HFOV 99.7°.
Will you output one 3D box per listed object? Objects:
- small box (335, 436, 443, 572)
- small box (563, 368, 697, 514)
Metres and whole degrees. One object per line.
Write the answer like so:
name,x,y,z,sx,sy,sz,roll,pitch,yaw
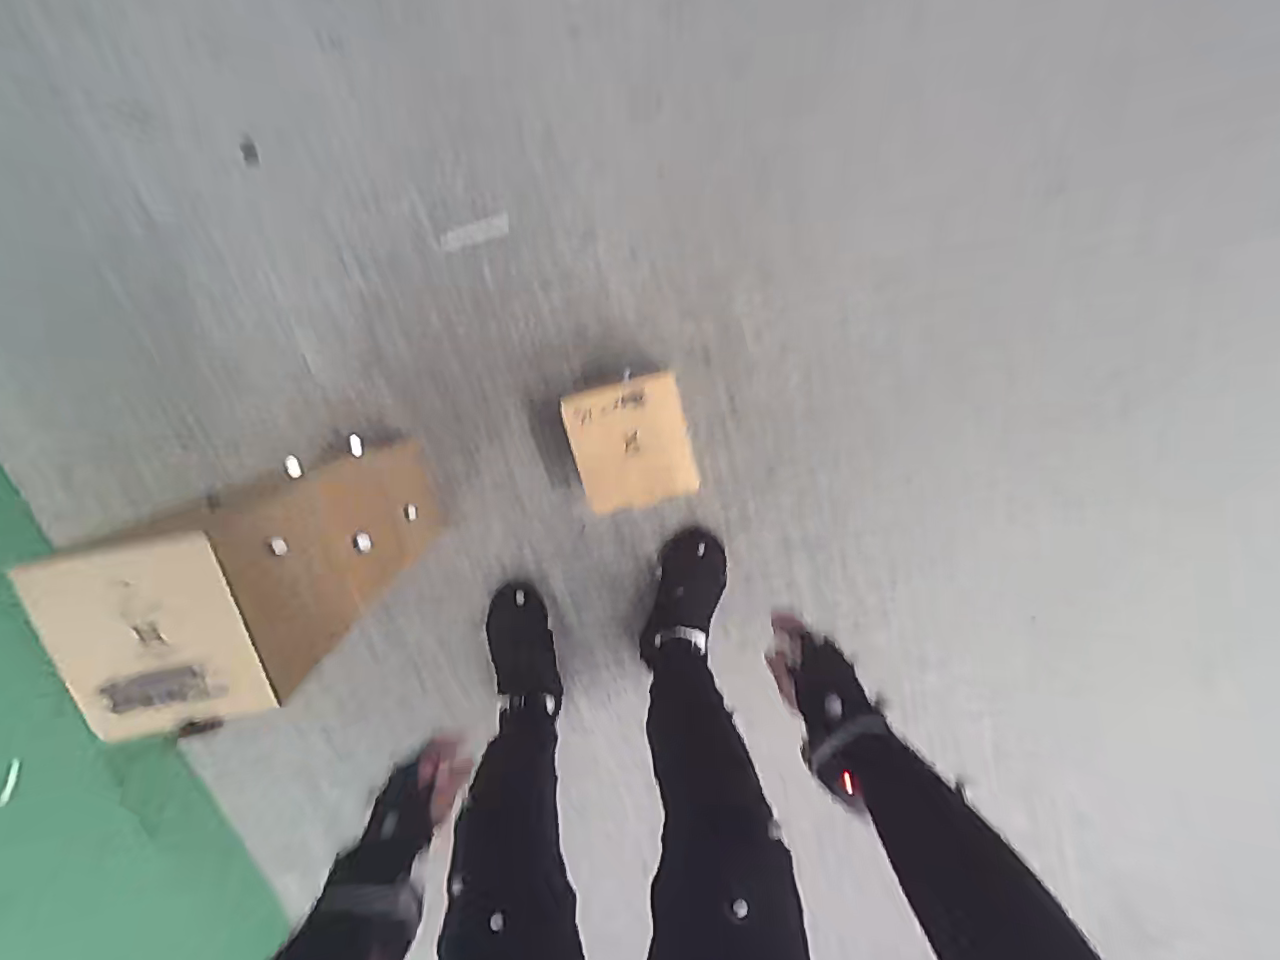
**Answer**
small box,-0.436,0.040,0.864,0.168,0.176,0.179,-11,104,0
small box,-0.013,-0.069,0.853,0.168,0.176,0.179,-14,106,1
